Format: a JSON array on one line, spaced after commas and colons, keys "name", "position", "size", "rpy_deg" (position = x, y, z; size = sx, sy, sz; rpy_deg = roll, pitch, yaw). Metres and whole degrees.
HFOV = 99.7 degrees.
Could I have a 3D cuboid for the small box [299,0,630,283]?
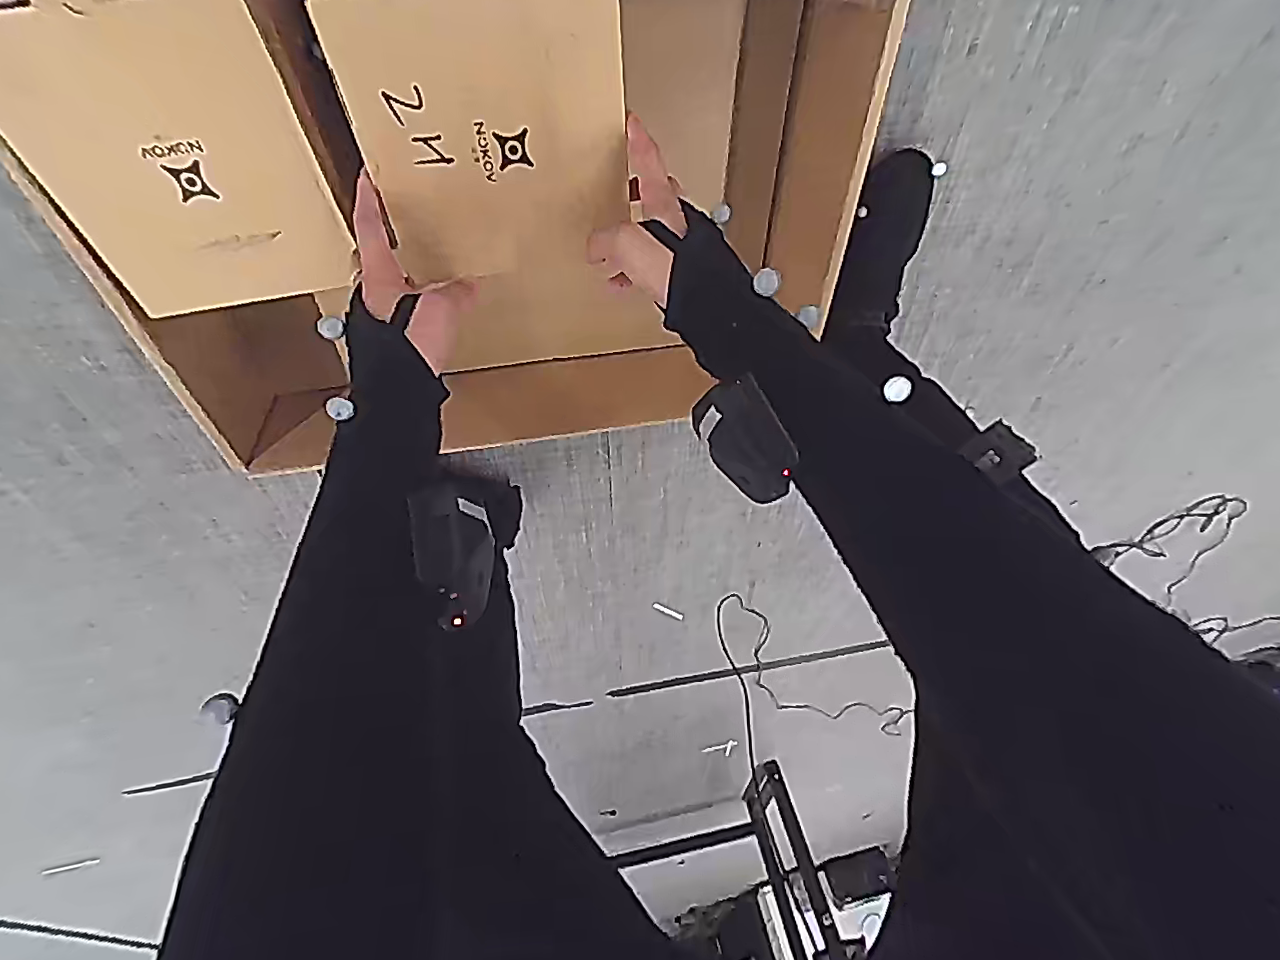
[{"name": "small box", "position": [-0.116, -0.275, 0.405], "size": [0.179, 0.176, 0.168], "rpy_deg": [-13, 137, -8]}]
